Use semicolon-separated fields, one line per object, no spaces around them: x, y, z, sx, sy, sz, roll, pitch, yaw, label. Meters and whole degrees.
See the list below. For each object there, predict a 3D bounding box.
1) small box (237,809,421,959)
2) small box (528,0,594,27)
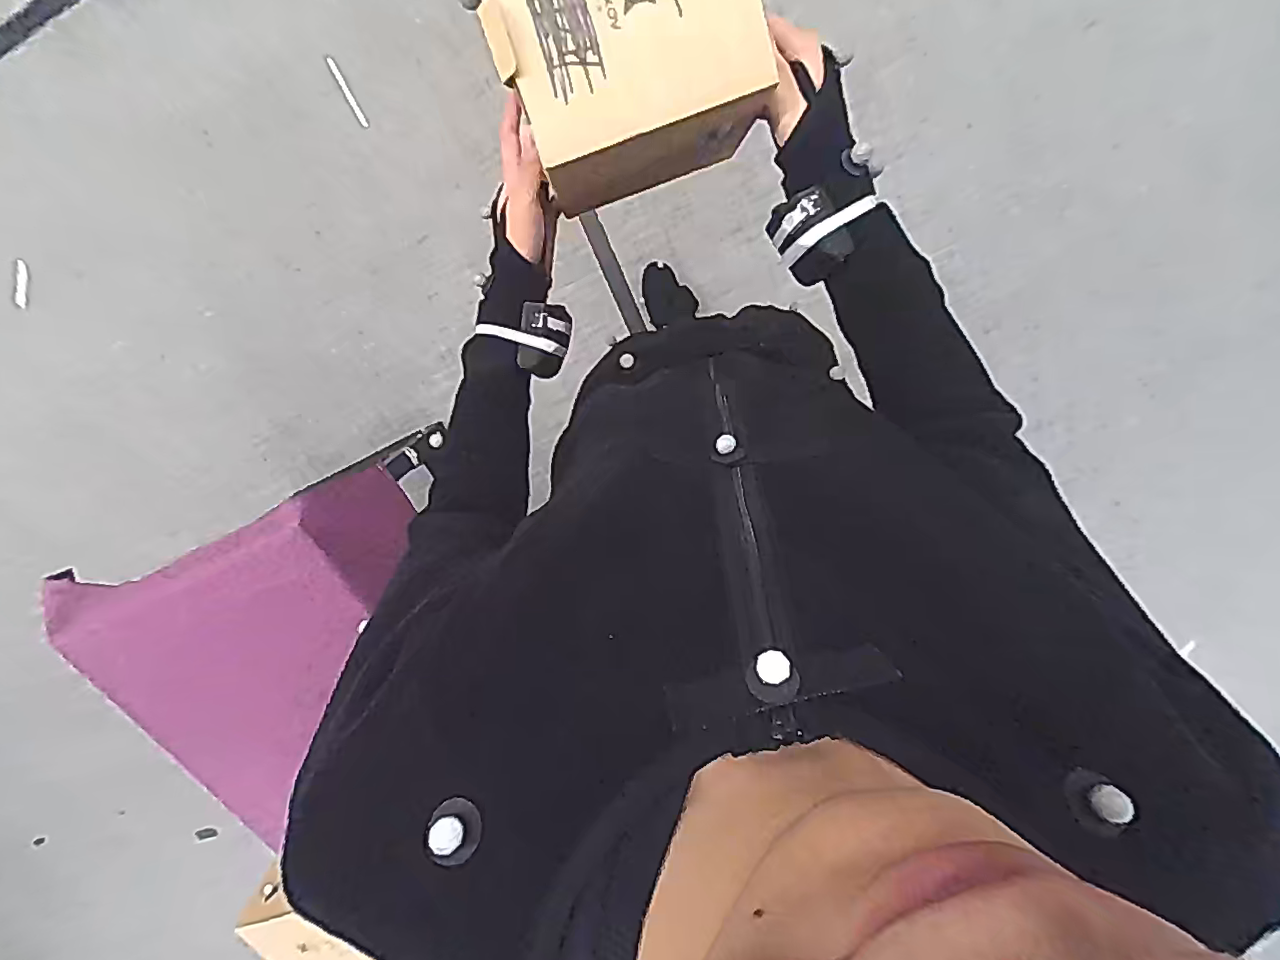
-0.514;0.706;0.921;0.179;0.176;0.168;-22;110;9;small box
-0.189;-1.121;1.154;0.168;0.176;0.179;-27;109;10;small box
